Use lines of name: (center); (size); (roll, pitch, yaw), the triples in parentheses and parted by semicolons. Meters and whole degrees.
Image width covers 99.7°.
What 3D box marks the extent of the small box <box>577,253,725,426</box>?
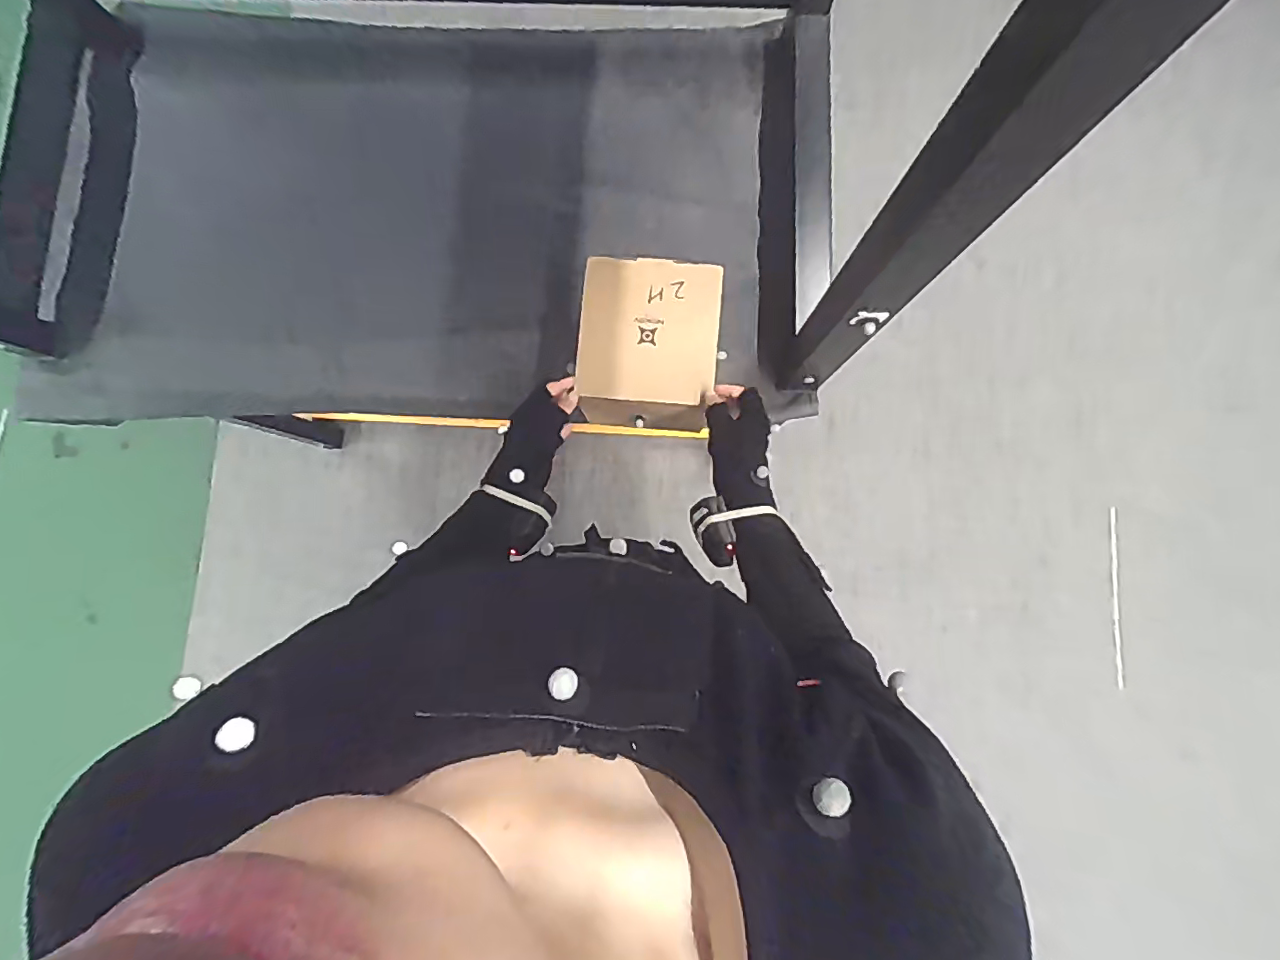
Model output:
small box: (0.016, -0.174, 0.721); (0.168, 0.176, 0.179); (5, 85, 1)
